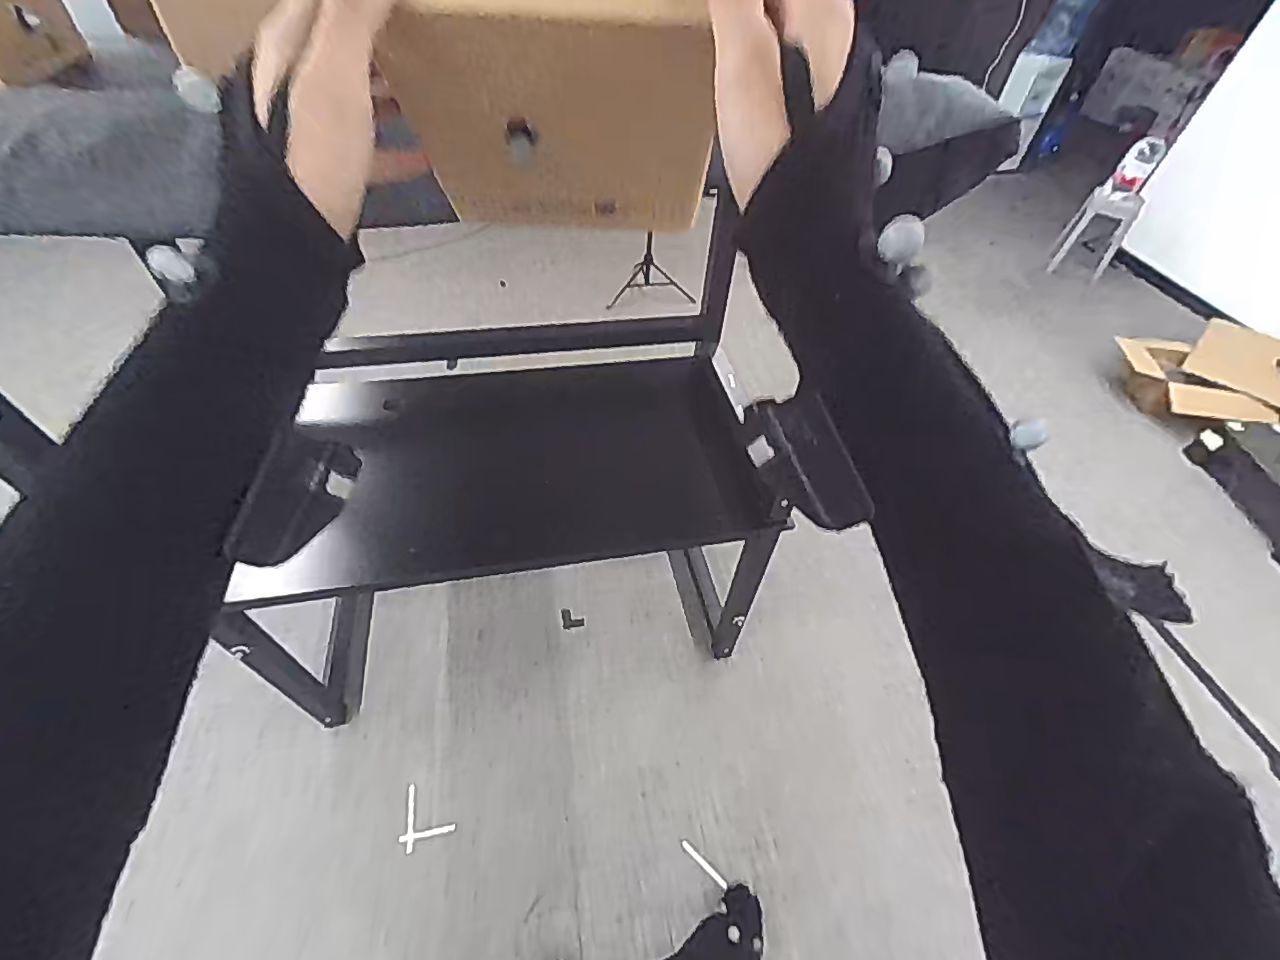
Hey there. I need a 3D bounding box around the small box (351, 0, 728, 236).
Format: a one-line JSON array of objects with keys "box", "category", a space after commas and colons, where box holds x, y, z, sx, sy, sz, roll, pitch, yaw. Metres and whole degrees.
[{"box": [-0.040, -0.267, 0.318, 0.168, 0.176, 0.179, 2, 84, -1], "category": "small box"}]

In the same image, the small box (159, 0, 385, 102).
[{"box": [-0.350, -0.490, 0.529, 0.179, 0.176, 0.168, -7, 49, -10], "category": "small box"}]
